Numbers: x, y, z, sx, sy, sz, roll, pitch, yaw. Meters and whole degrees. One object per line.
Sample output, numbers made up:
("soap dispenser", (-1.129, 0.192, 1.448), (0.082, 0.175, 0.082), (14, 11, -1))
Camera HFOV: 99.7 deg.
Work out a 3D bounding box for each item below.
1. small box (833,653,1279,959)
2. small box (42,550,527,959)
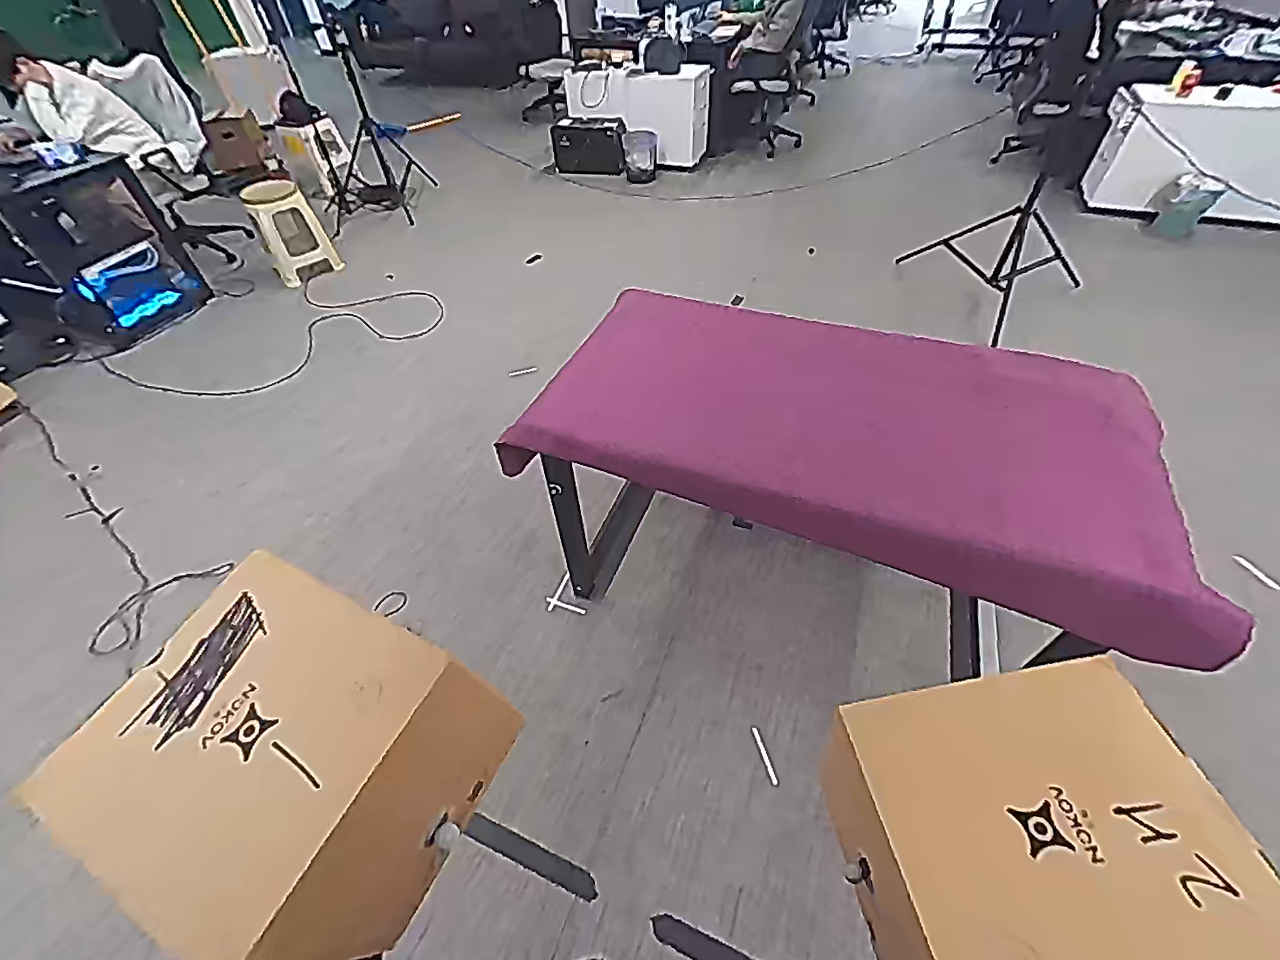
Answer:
("small box", (0.236, 0.238, 0.349), (0.179, 0.176, 0.168), (-12, 46, 1))
("small box", (-0.206, 0.181, 0.368), (0.179, 0.176, 0.168), (21, 59, 19))
